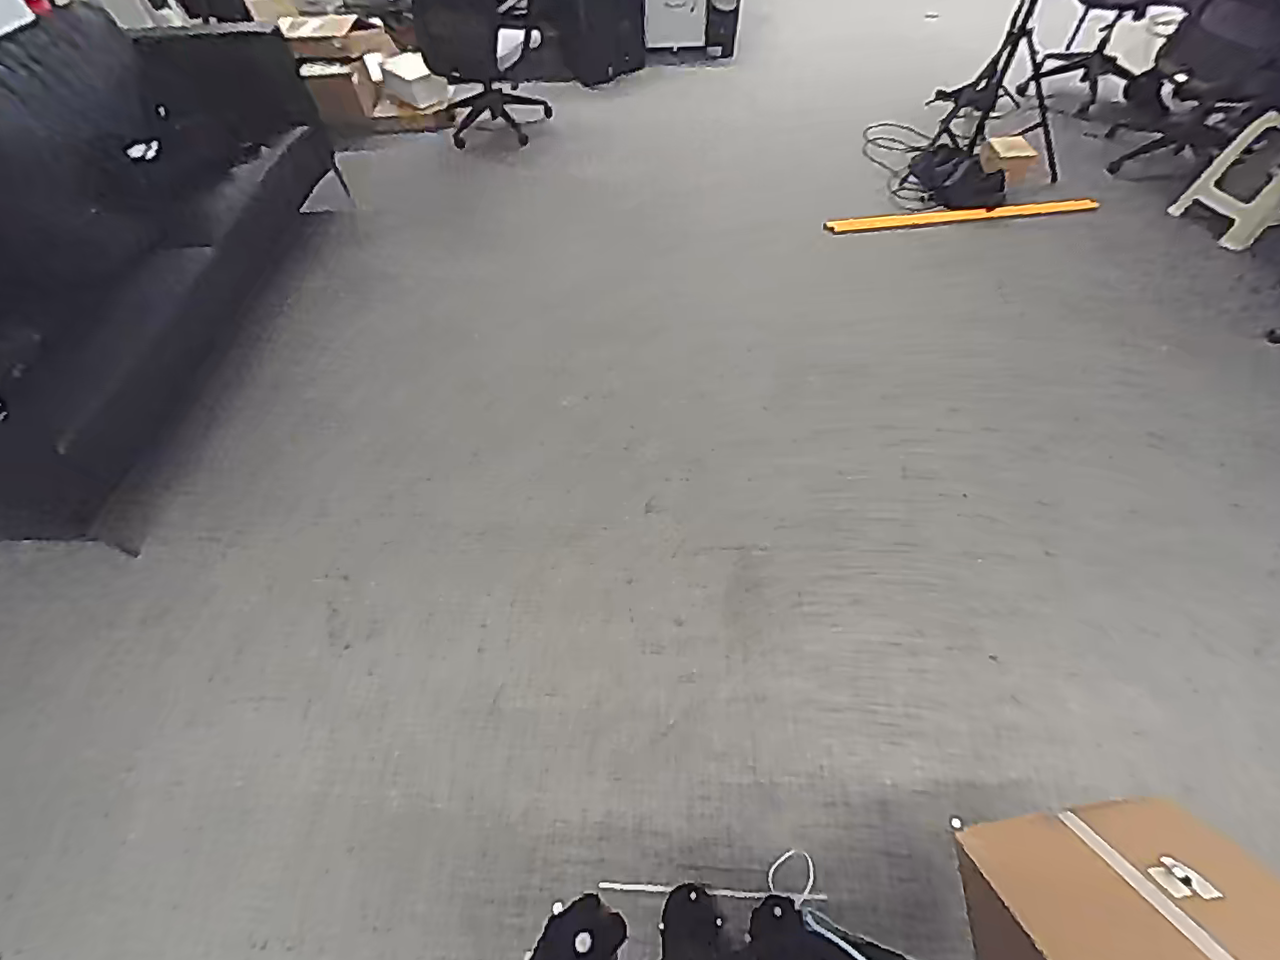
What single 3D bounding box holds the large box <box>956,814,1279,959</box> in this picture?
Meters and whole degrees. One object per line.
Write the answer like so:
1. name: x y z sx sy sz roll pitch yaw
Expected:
1. large box: 0.636 0.668 0.593 0.320 0.408 0.320 -11 93 3
